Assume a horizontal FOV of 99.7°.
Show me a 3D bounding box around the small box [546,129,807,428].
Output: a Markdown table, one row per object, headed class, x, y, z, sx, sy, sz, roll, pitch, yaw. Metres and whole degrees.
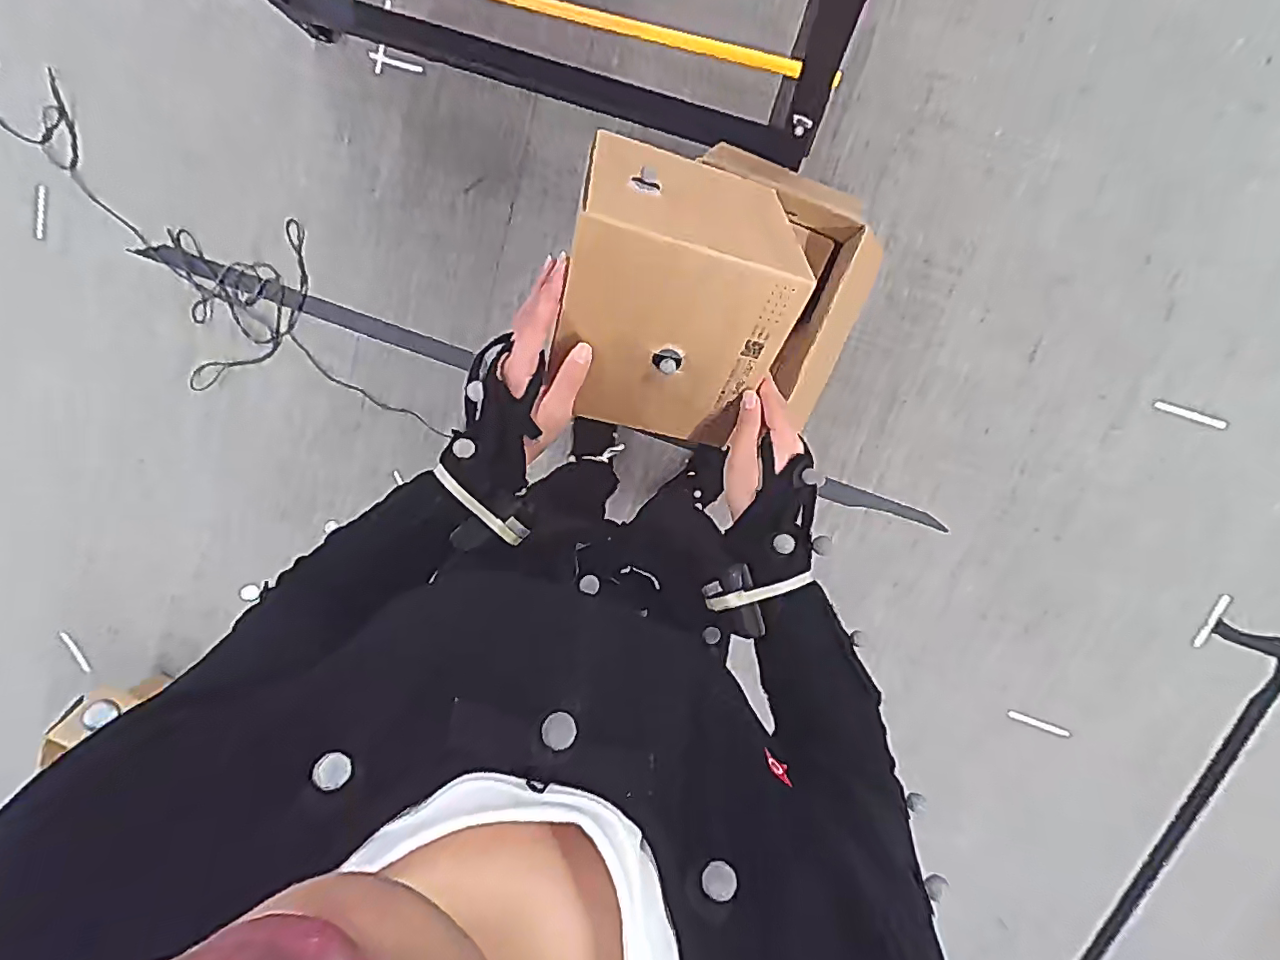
| class | x | y | z | sx | sy | sz | roll | pitch | yaw |
| --- | --- | --- | --- | --- | --- | --- | --- | --- | --- |
| small box | 0.021 | -0.162 | 0.466 | 0.176 | 0.179 | 0.168 | 11 | 136 | -14 |
